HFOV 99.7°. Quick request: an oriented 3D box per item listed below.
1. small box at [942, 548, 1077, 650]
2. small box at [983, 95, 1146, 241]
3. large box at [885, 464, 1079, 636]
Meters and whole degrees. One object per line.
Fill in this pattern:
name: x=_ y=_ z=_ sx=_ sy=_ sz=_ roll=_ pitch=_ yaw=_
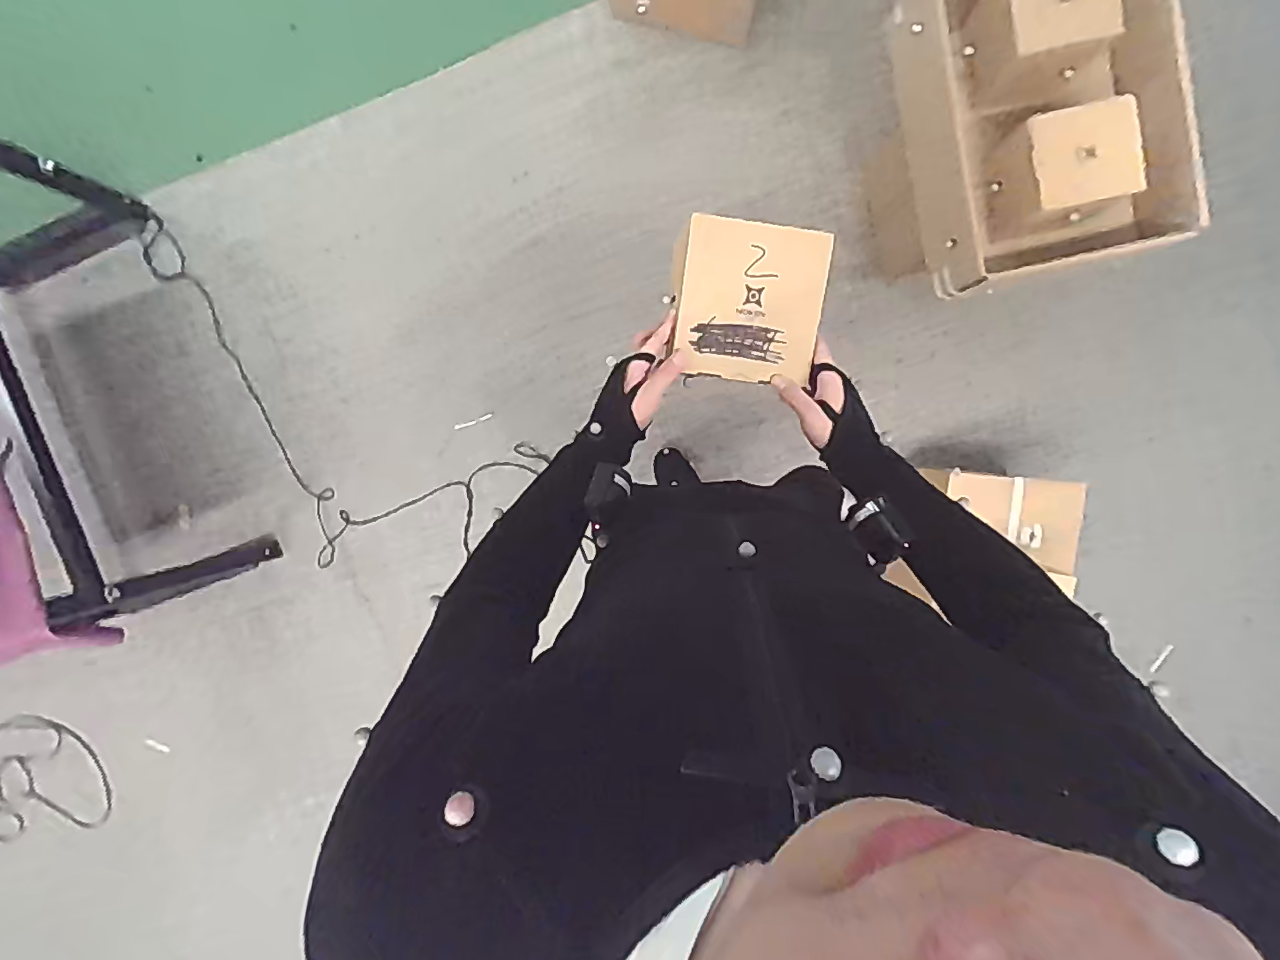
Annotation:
small box: x=0.806 y=0.253 z=1.200 sx=0.179 sy=0.176 sz=0.168 roll=9 pitch=95 yaw=4
small box: x=0.794 y=-0.579 z=1.026 sx=0.179 sy=0.176 sz=0.168 roll=-10 pitch=94 yaw=6
large box: x=0.876 y=0.173 z=1.436 sx=0.320 sy=0.320 sz=0.408 roll=5 pitch=94 yaw=3
